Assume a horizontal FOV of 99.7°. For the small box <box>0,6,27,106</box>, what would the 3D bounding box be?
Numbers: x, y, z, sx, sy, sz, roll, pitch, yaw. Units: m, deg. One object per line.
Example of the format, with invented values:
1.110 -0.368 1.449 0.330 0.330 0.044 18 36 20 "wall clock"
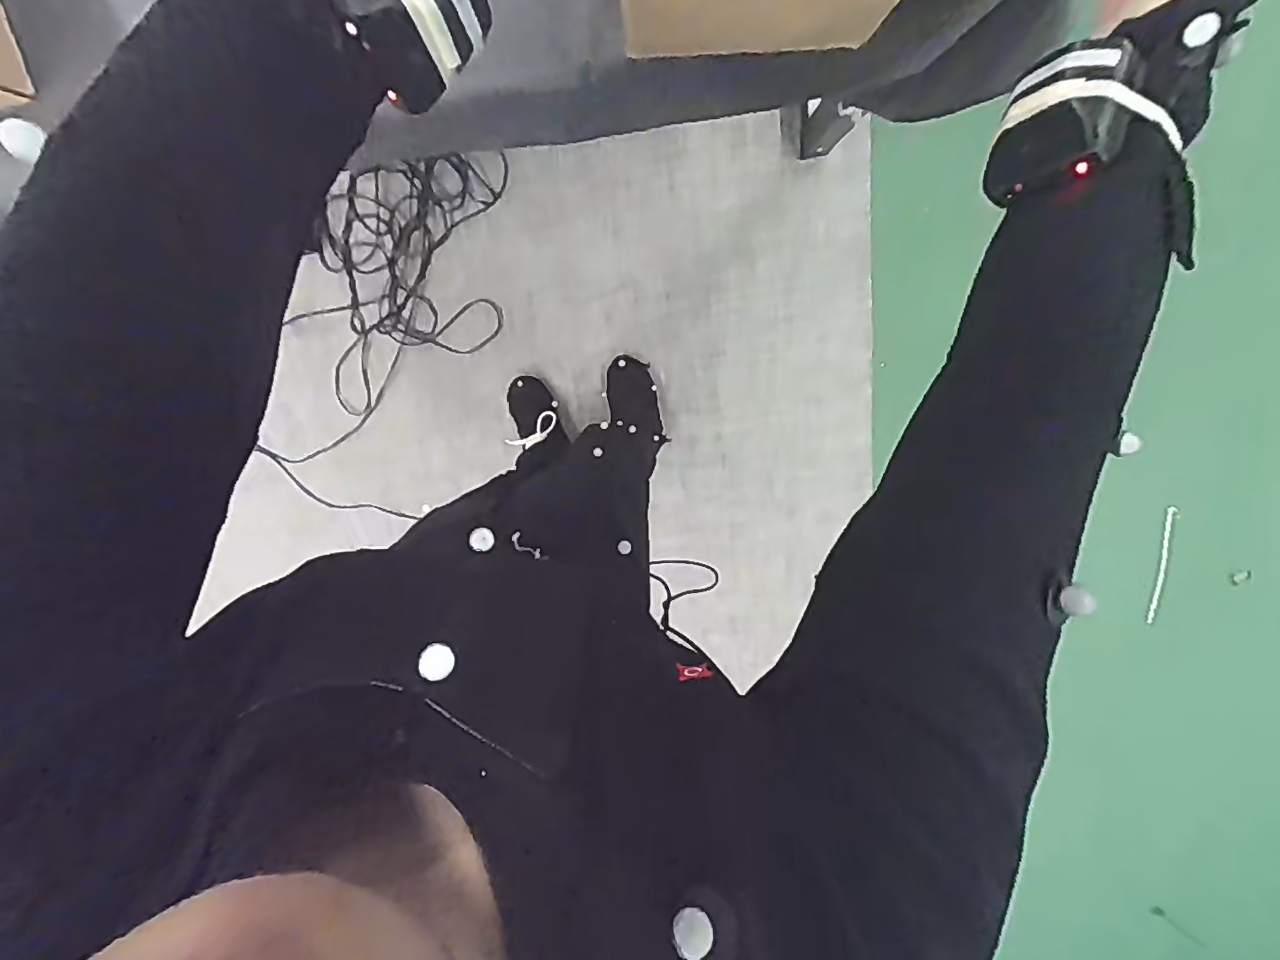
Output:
-0.659 -0.396 0.410 0.179 0.176 0.168 -4 108 7 "small box"
